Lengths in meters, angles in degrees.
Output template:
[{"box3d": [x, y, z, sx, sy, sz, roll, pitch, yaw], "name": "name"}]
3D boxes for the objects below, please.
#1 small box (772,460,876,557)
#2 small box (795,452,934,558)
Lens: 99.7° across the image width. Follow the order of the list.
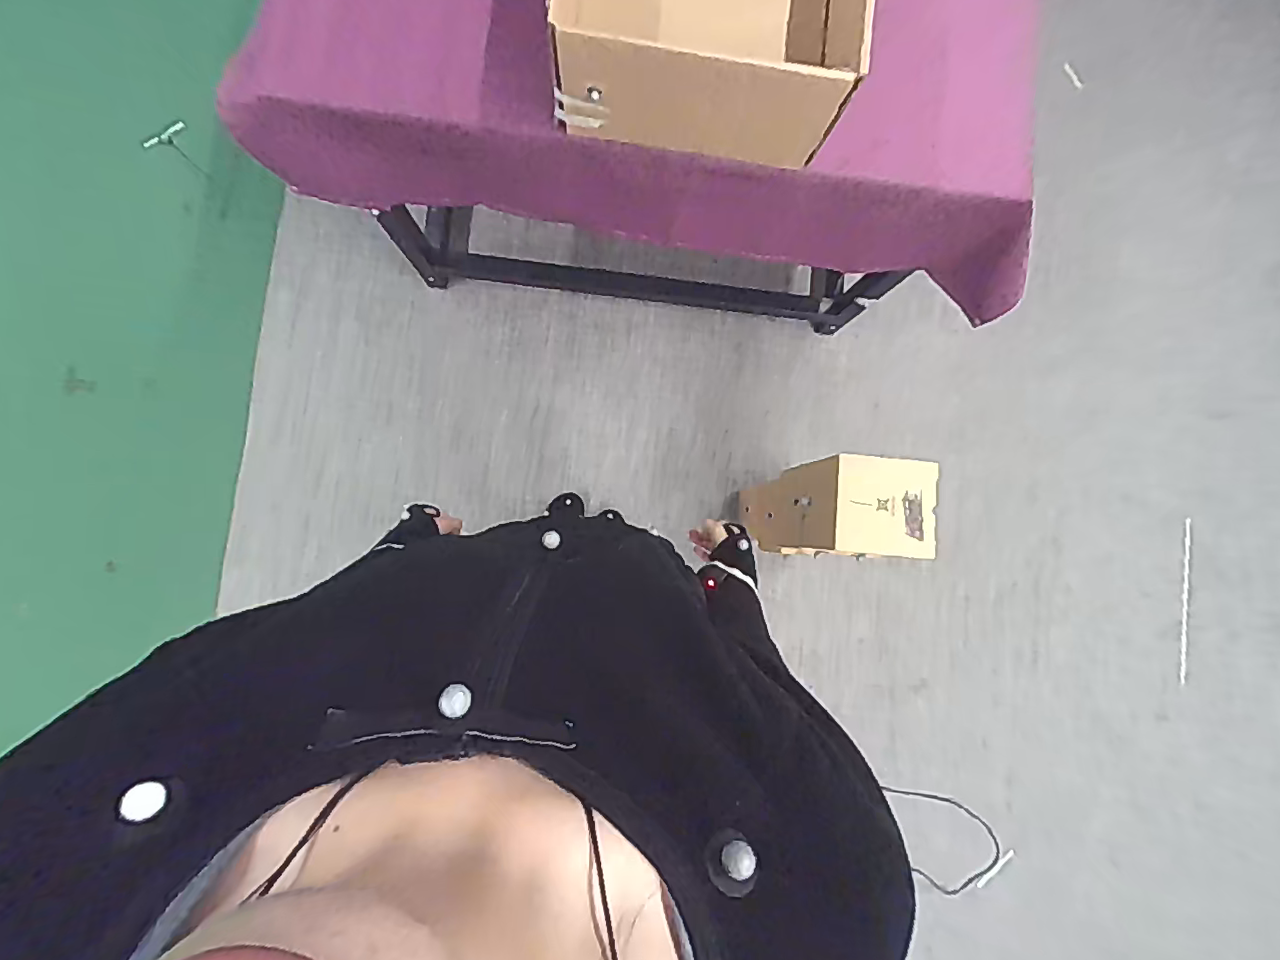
[{"box3d": [0.390, 0.063, 1.150, 0.168, 0.176, 0.179, 7, 85, -3], "name": "small box"}, {"box3d": [0.402, 0.048, 0.986, 0.179, 0.176, 0.168, 6, 85, -3], "name": "small box"}]
